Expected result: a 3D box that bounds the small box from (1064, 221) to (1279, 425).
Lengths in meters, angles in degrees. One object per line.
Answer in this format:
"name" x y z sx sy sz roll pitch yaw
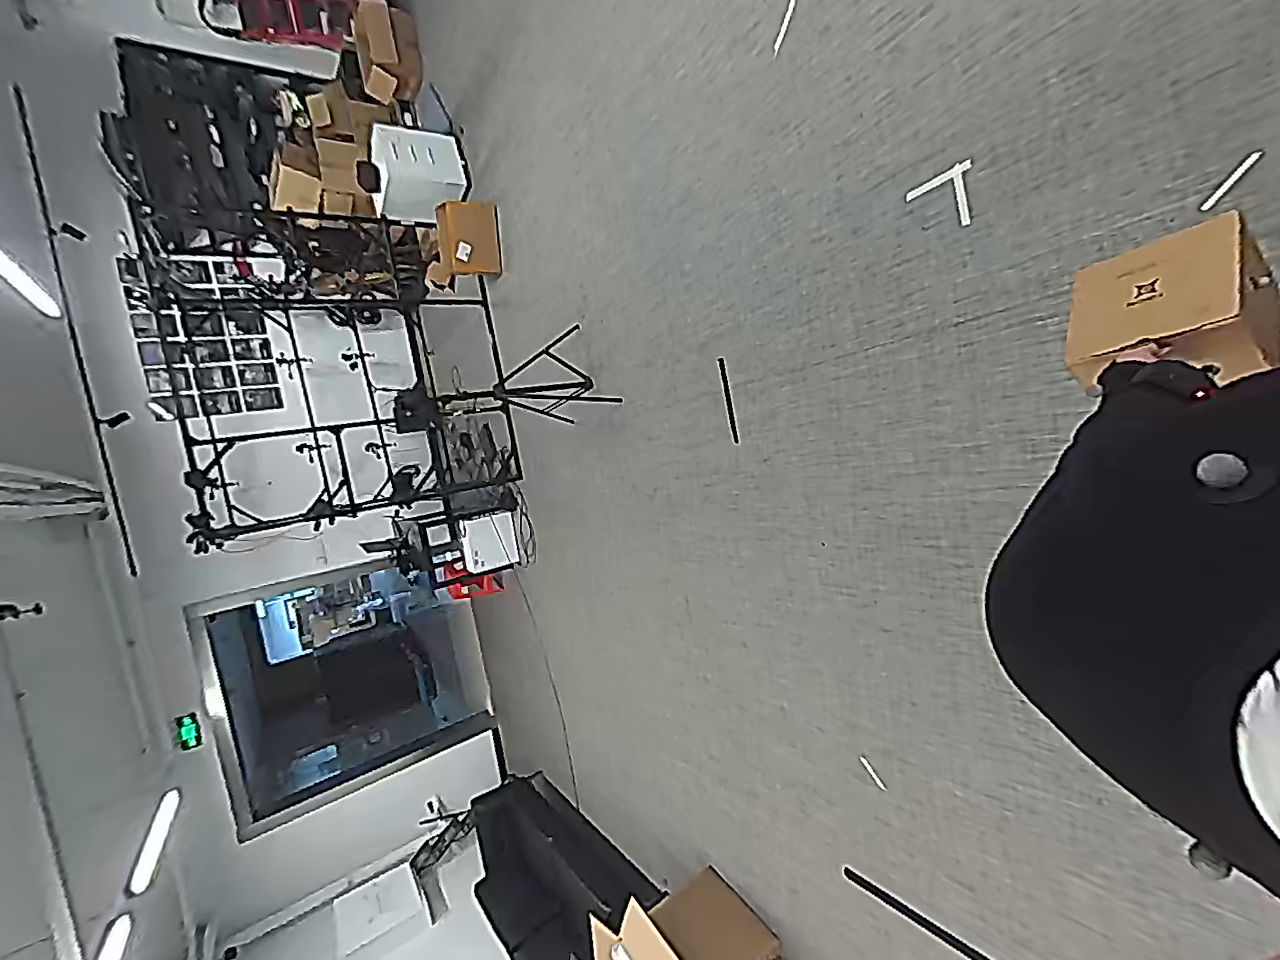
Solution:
"small box" 0.708 -0.190 0.720 0.168 0.176 0.179 -13 46 58
